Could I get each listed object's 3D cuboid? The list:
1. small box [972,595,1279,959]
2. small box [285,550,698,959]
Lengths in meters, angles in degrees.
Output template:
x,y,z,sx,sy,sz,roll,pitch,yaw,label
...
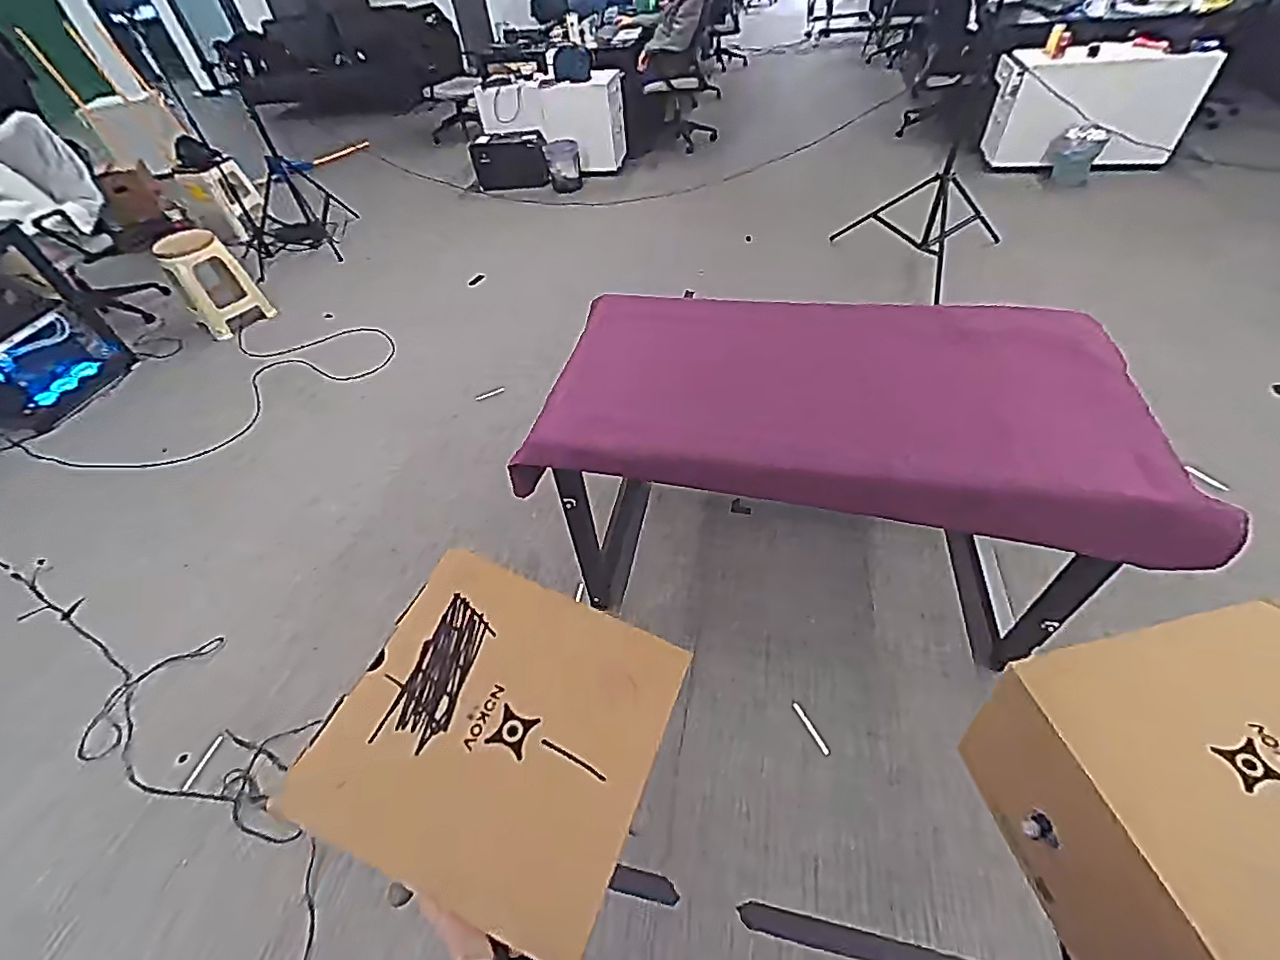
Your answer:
x,y,z,sx,sy,sz,roll,pitch,yaw,label
0.349,0.205,0.349,0.179,0.176,0.168,-15,46,1,small box
-0.081,0.182,0.371,0.179,0.176,0.168,22,56,8,small box
